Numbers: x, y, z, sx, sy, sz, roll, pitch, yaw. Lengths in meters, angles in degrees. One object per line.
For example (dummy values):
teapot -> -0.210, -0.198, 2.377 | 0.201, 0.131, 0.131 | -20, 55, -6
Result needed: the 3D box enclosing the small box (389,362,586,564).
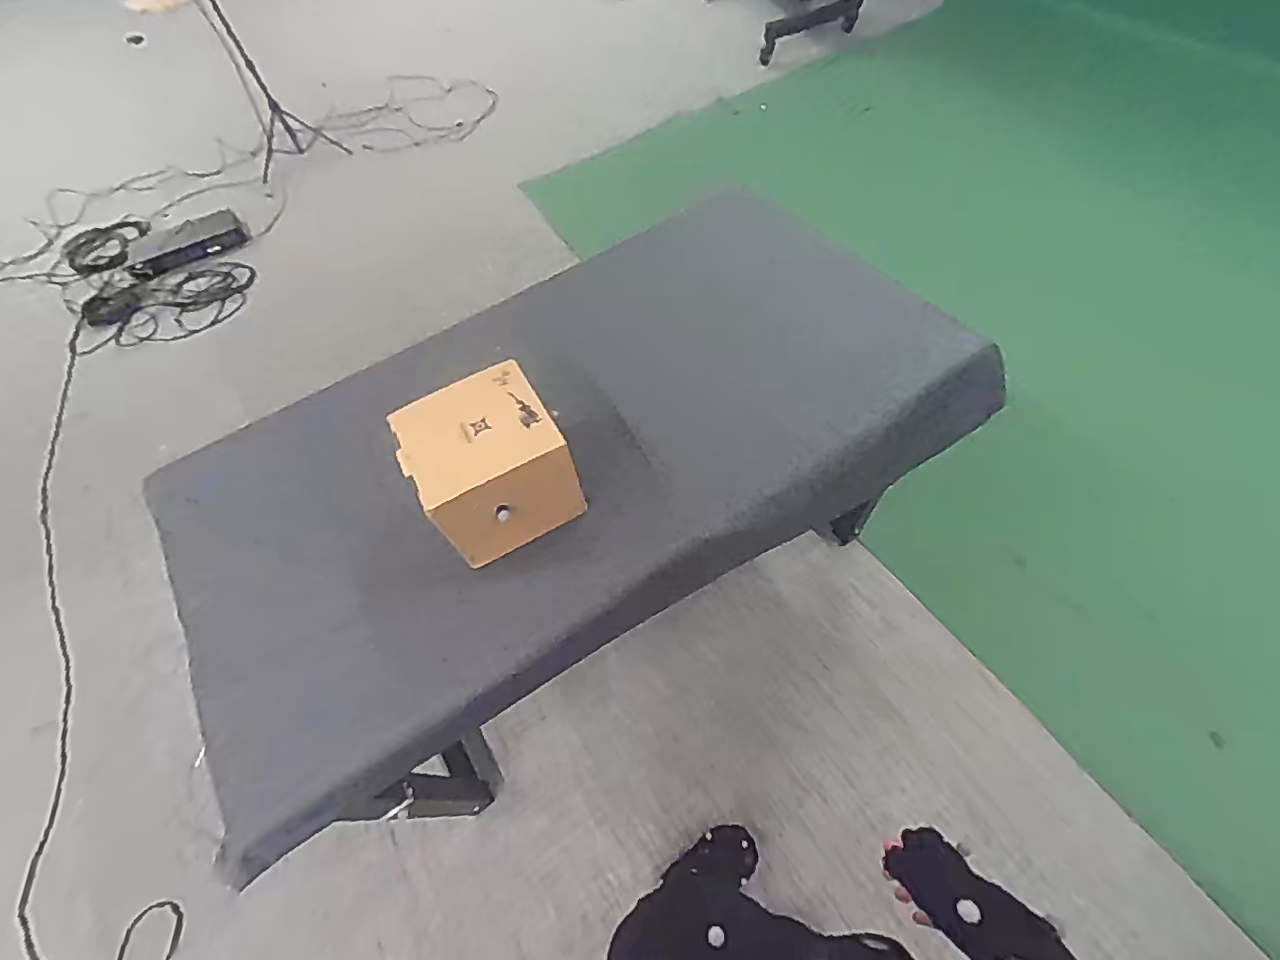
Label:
small box -> -0.193, -0.015, 0.719 | 0.179, 0.176, 0.168 | -28, 60, -10
